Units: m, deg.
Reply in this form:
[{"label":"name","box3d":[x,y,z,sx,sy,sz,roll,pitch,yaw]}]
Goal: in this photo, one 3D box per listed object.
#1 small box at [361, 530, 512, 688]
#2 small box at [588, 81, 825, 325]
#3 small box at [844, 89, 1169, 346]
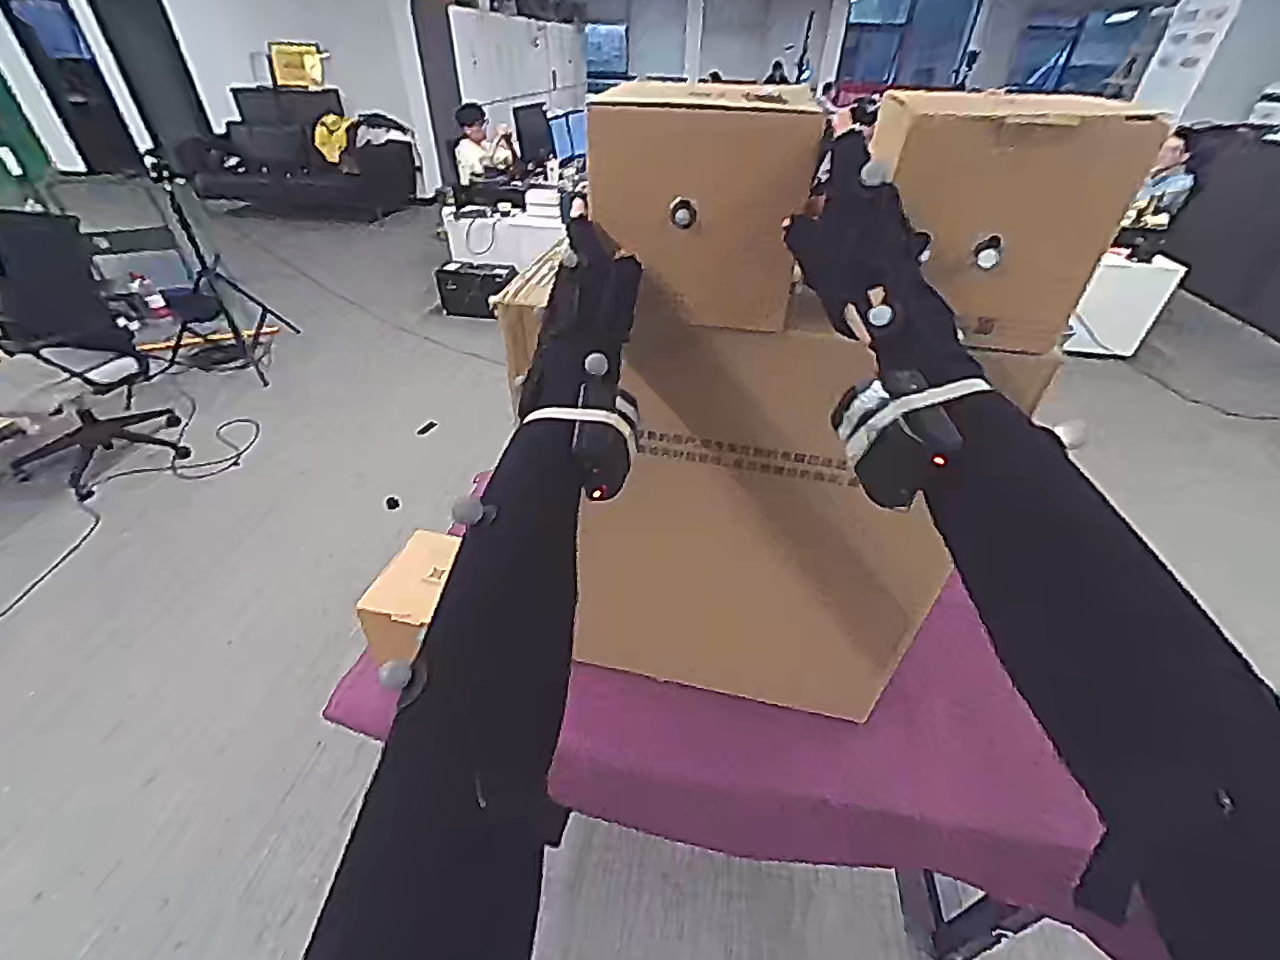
[{"label":"small box","box3d":[-0.319,0.213,0.895,0.168,0.176,0.179,11,37,6]},{"label":"small box","box3d":[0.060,-0.257,0.502,0.179,0.176,0.168,6,40,8]},{"label":"small box","box3d":[0.288,-0.236,0.481,0.168,0.176,0.179,9,41,9]}]
